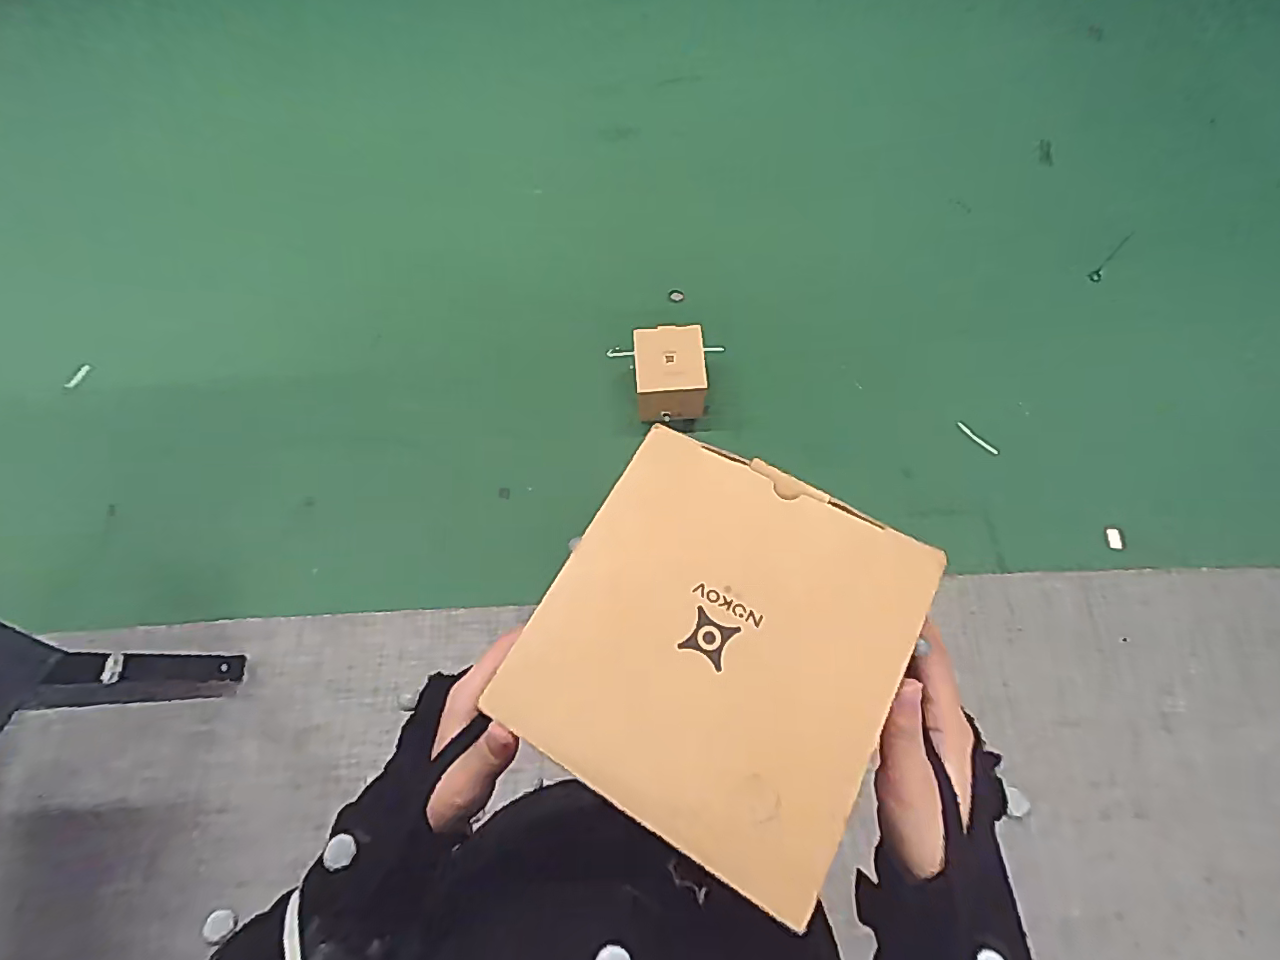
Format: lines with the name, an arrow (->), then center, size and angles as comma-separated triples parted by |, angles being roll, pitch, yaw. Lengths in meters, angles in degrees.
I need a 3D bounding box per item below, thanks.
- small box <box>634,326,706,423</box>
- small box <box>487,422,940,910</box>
small box -> 0.071, -0.261, 1.354 | 0.168, 0.176, 0.179 | -4, 72, 1
small box -> 0.045, 0.102, 0.334 | 0.168, 0.176, 0.179 | 26, 70, 17
